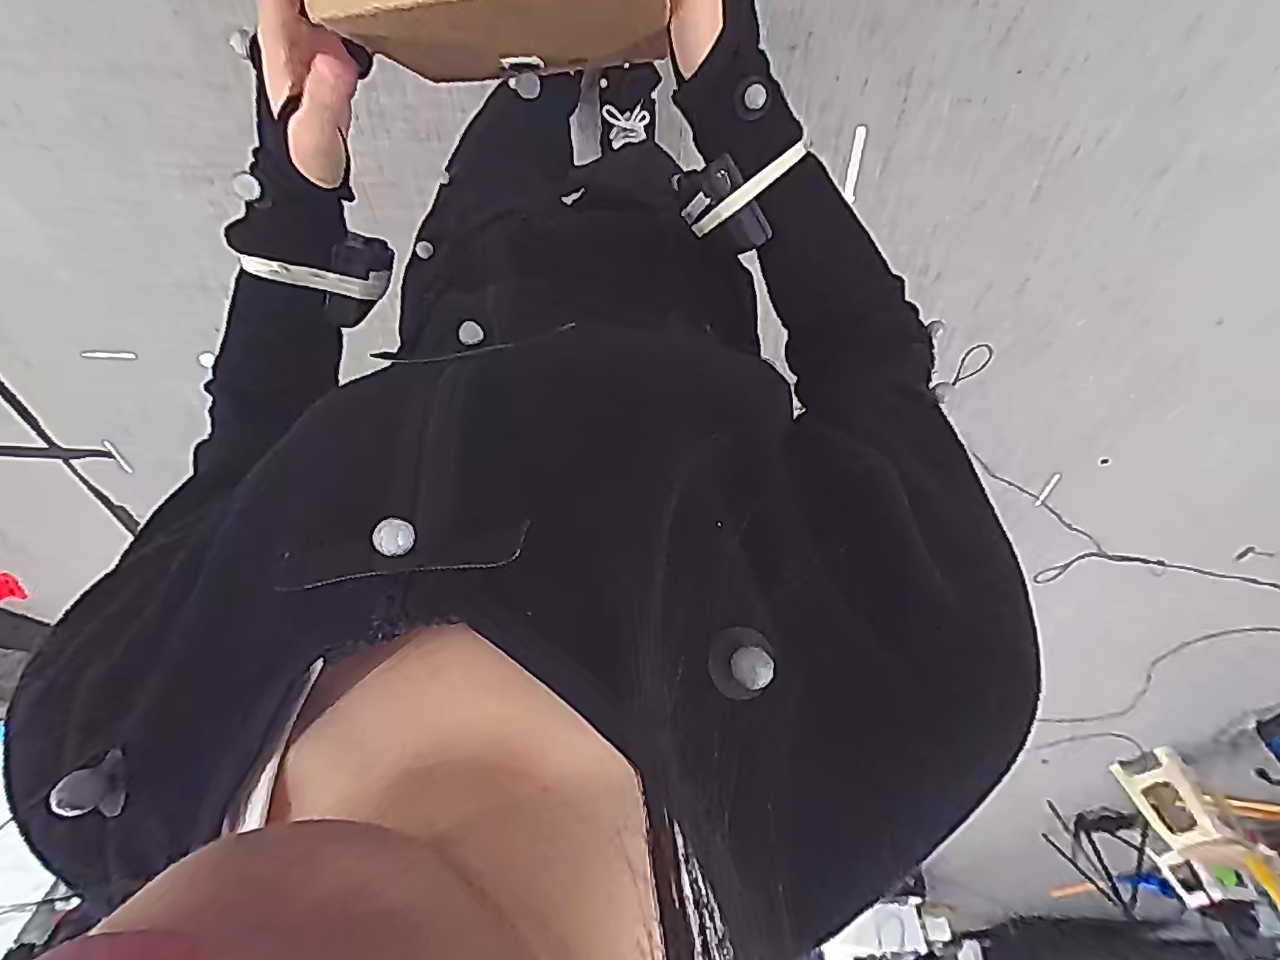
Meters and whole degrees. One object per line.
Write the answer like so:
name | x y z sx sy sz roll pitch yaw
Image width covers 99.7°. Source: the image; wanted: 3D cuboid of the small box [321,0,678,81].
small box | -0.068 -0.328 0.268 0.168 0.176 0.179 -3 118 6
